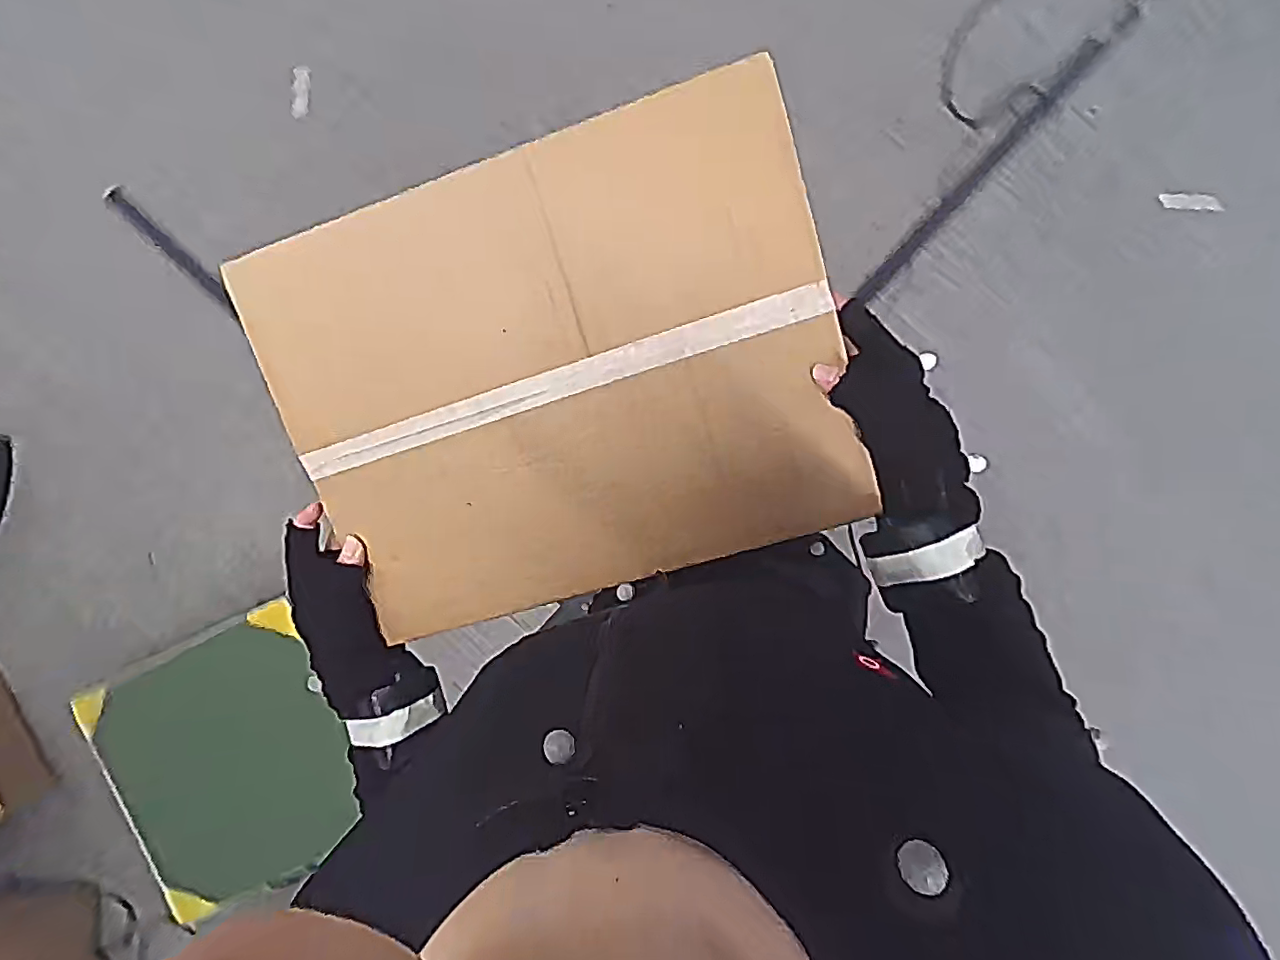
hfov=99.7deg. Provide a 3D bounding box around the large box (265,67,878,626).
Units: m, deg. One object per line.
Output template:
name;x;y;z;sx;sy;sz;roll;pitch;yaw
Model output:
large box;-0.042;-0.100;0.546;0.408;0.320;0.320;-15;101;8
